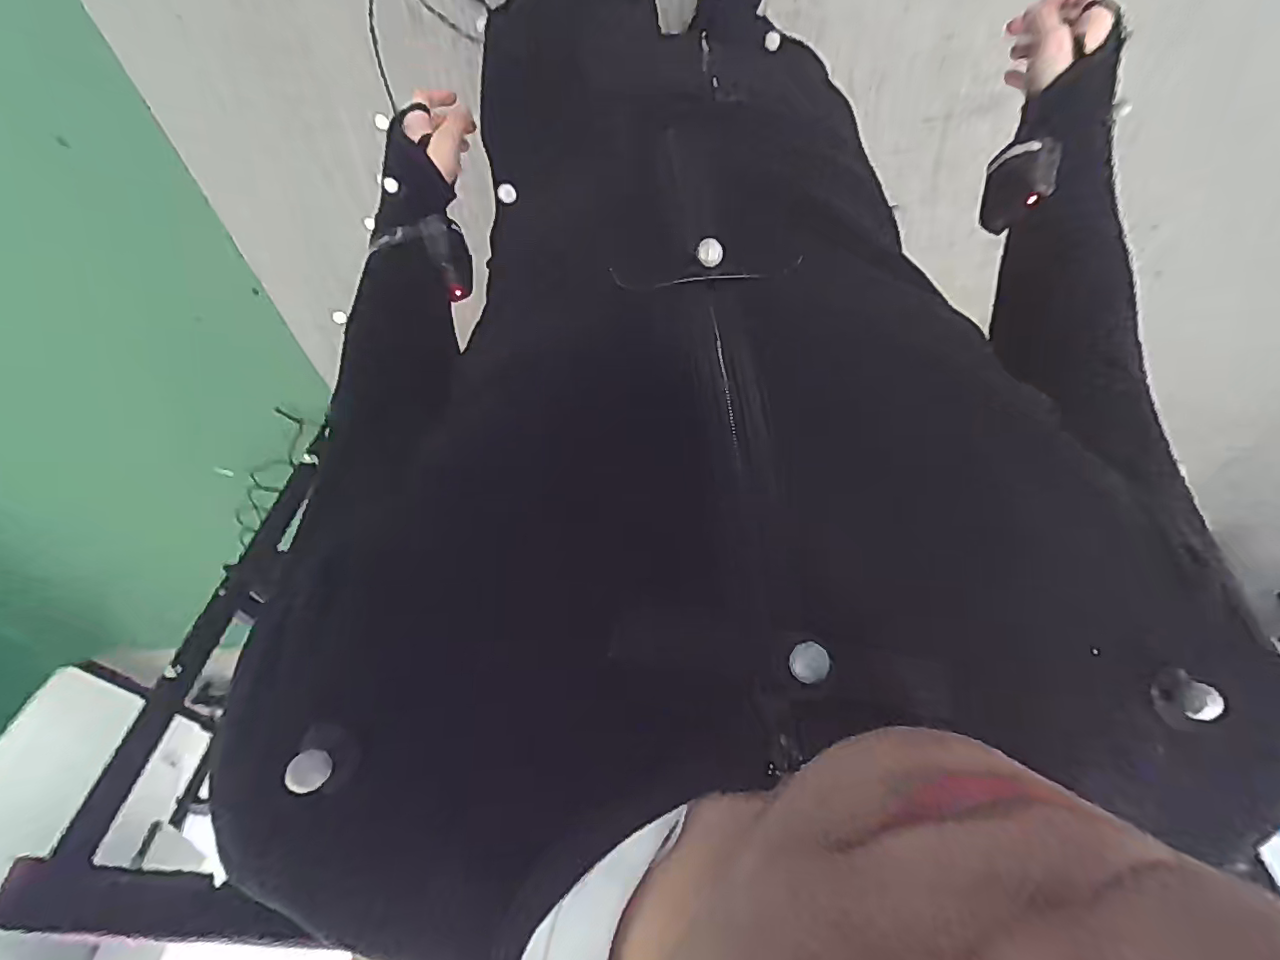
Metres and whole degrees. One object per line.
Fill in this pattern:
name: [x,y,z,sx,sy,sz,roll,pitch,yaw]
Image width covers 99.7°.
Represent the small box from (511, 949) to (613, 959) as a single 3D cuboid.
small box: [-0.131,0.909,0.912,0.179,0.176,0.168,-1,138,4]
